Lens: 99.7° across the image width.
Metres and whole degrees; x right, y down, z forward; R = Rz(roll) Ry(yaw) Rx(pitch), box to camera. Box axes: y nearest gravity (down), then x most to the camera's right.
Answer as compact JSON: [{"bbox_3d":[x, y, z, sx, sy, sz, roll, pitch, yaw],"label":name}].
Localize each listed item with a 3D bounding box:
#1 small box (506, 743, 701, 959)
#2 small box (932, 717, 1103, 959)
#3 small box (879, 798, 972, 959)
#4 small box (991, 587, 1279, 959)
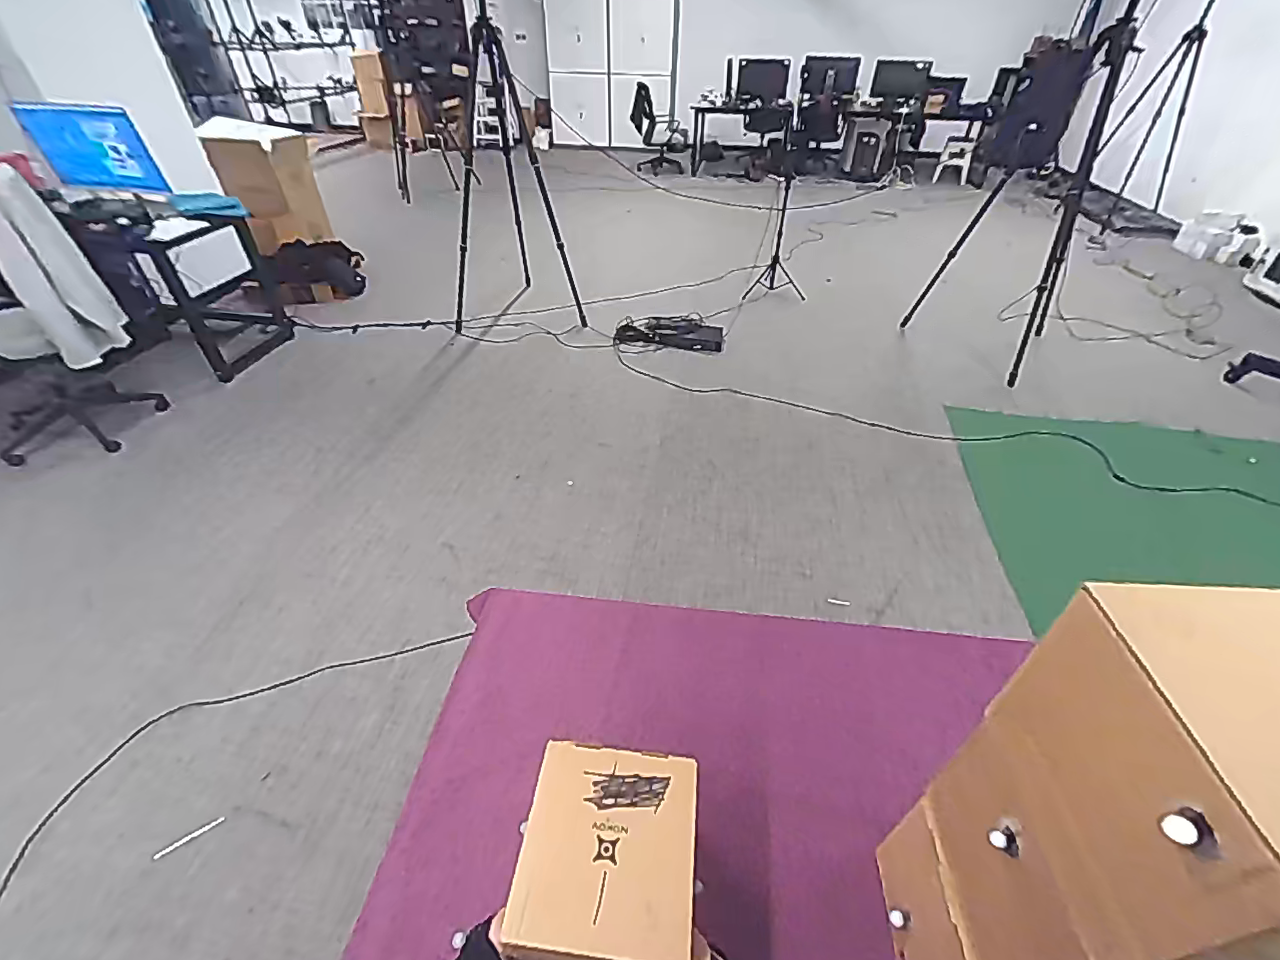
[{"bbox_3d":[-0.029,0.413,0.570,0.168,0.176,0.179,5,39,5],"label":"small box"},{"bbox_3d":[0.365,0.320,0.435,0.168,0.176,0.179,3,40,5],"label":"small box"},{"bbox_3d":[0.365,0.447,0.537,0.179,0.176,0.168,5,39,5],"label":"small box"},{"bbox_3d":[0.362,0.190,0.336,0.168,0.176,0.179,2,41,3],"label":"small box"}]
